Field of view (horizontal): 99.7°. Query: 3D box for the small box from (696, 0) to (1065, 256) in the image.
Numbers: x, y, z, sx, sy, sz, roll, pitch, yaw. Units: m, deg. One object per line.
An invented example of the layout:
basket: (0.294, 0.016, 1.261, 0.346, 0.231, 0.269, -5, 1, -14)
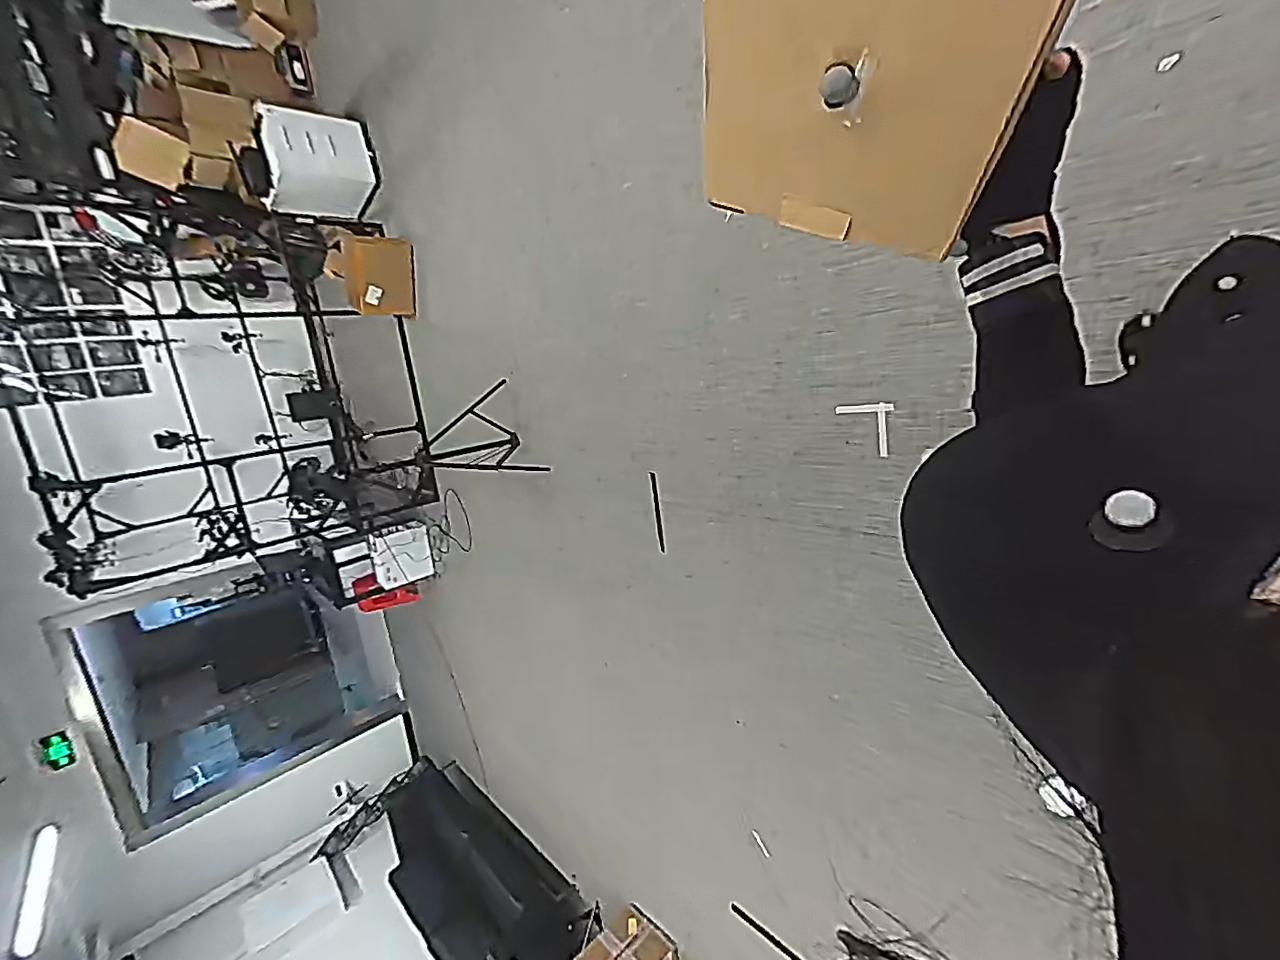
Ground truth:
small box: (0.139, -0.266, 0.302, 0.168, 0.179, 0.176, 26, 157, 20)
